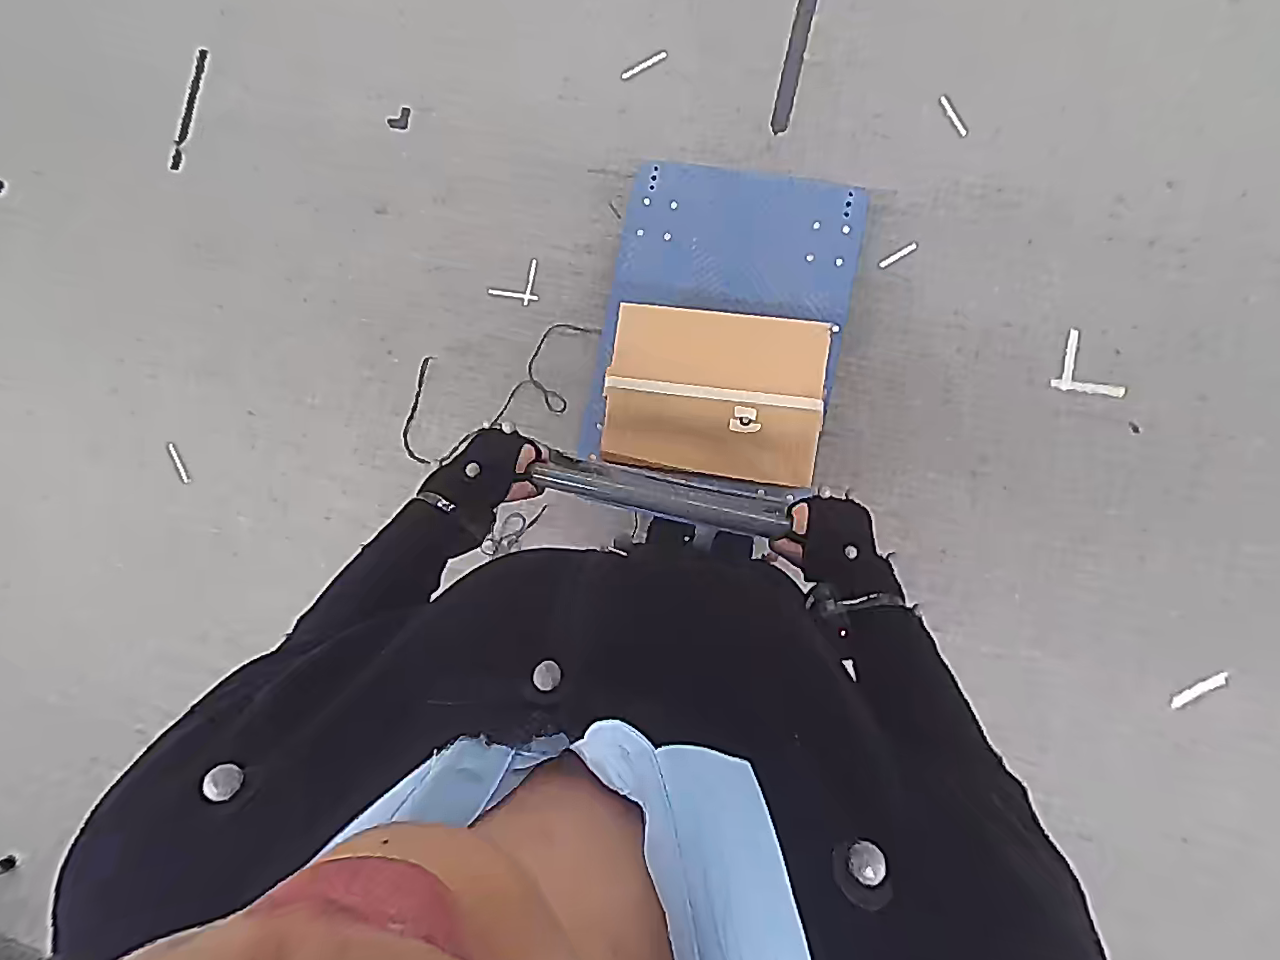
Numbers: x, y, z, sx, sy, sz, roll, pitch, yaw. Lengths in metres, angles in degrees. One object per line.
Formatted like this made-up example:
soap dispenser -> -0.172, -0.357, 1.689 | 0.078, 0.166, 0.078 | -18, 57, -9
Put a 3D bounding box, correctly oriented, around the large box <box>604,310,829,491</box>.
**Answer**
large box -> 0.155, -0.153, 1.182 | 0.408, 0.320, 0.320 | 8, 89, 6
